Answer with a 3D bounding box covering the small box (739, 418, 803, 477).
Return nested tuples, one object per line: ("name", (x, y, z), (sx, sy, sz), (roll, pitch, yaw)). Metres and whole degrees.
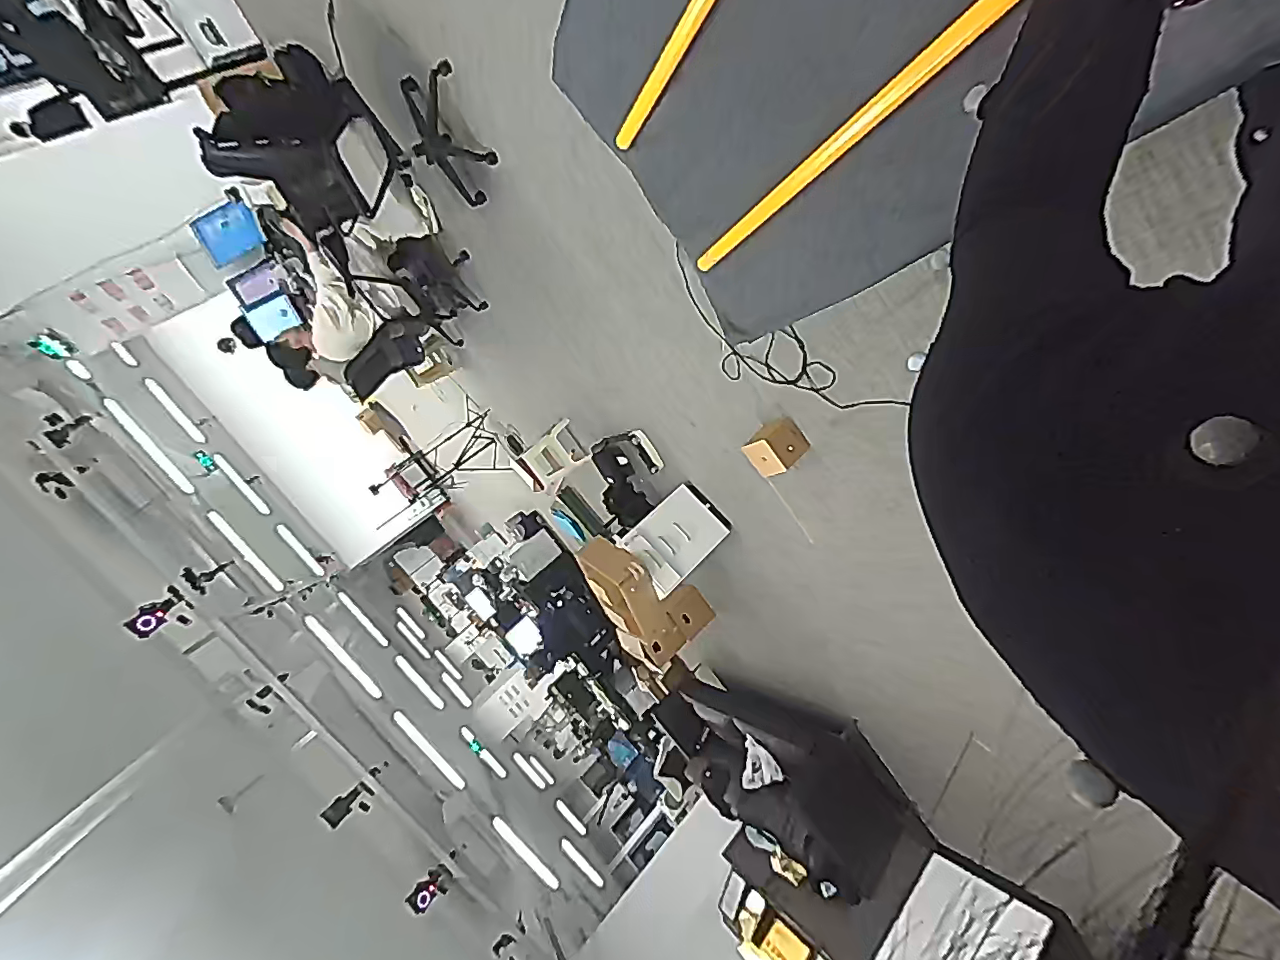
("small box", (0.557, -0.138, 2.273), (0.168, 0.176, 0.179), (51, 157, -7))
